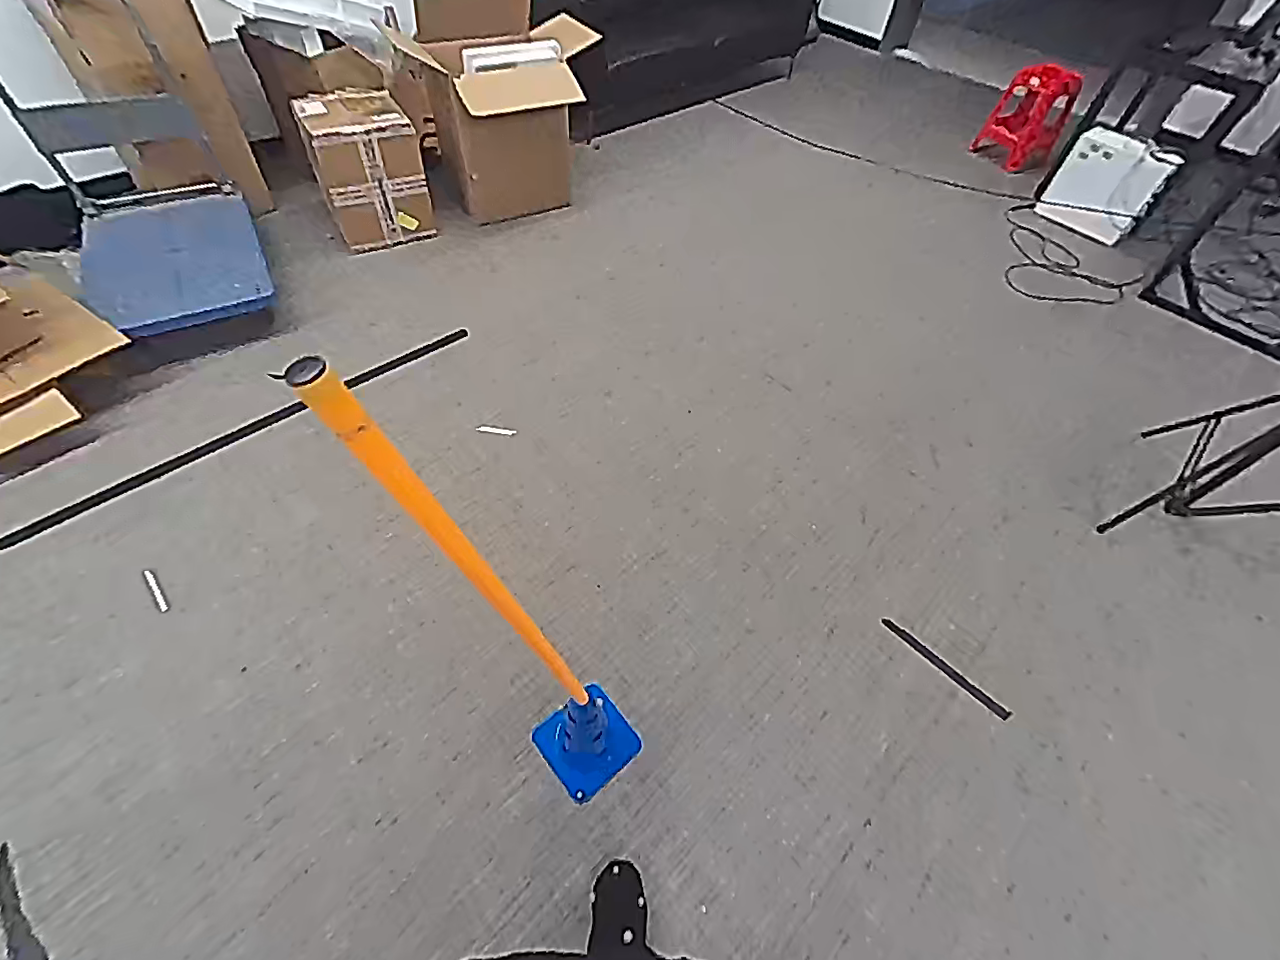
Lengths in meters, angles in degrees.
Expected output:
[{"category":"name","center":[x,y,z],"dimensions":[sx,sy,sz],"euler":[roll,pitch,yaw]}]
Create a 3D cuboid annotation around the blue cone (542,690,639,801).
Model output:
[{"category":"blue cone","center":[-0.108,0.522,1.150],"dimensions":[0.193,0.380,0.192],"euler":[-32,62,-25]}]
